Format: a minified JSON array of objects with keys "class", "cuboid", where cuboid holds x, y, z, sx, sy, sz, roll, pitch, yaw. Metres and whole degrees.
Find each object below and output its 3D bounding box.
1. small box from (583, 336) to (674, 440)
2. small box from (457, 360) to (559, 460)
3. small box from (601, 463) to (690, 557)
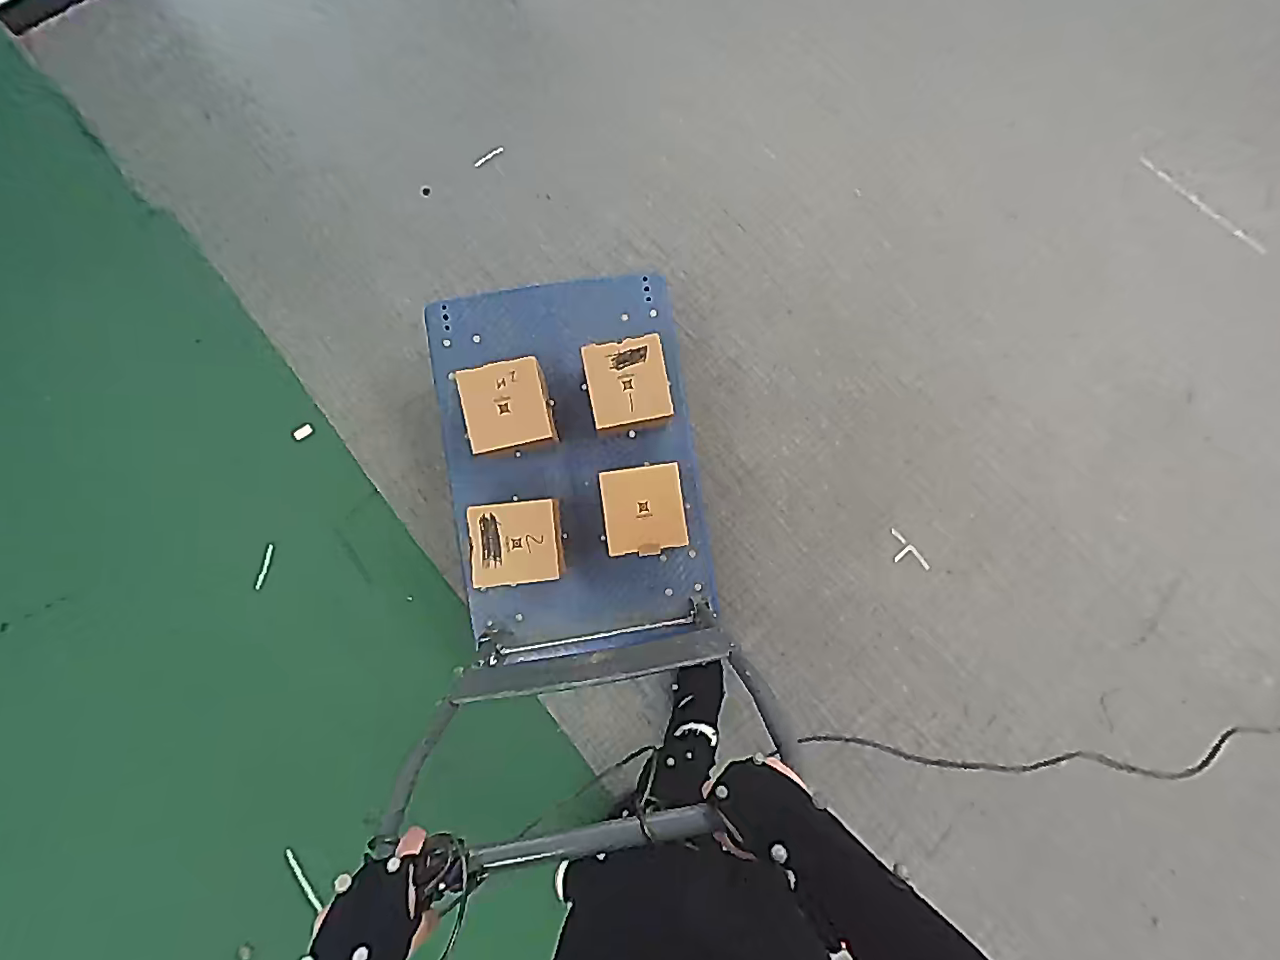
[{"class":"small box","cuboid":[-0.029,-0.196,1.194,0.168,0.176,0.179,-11,88,-2]},{"class":"small box","cuboid":[-0.281,-0.144,1.182,0.168,0.176,0.179,-13,88,-4]},{"class":"small box","cuboid":[0.006,0.066,1.184,0.168,0.176,0.179,-8,88,-3]}]
